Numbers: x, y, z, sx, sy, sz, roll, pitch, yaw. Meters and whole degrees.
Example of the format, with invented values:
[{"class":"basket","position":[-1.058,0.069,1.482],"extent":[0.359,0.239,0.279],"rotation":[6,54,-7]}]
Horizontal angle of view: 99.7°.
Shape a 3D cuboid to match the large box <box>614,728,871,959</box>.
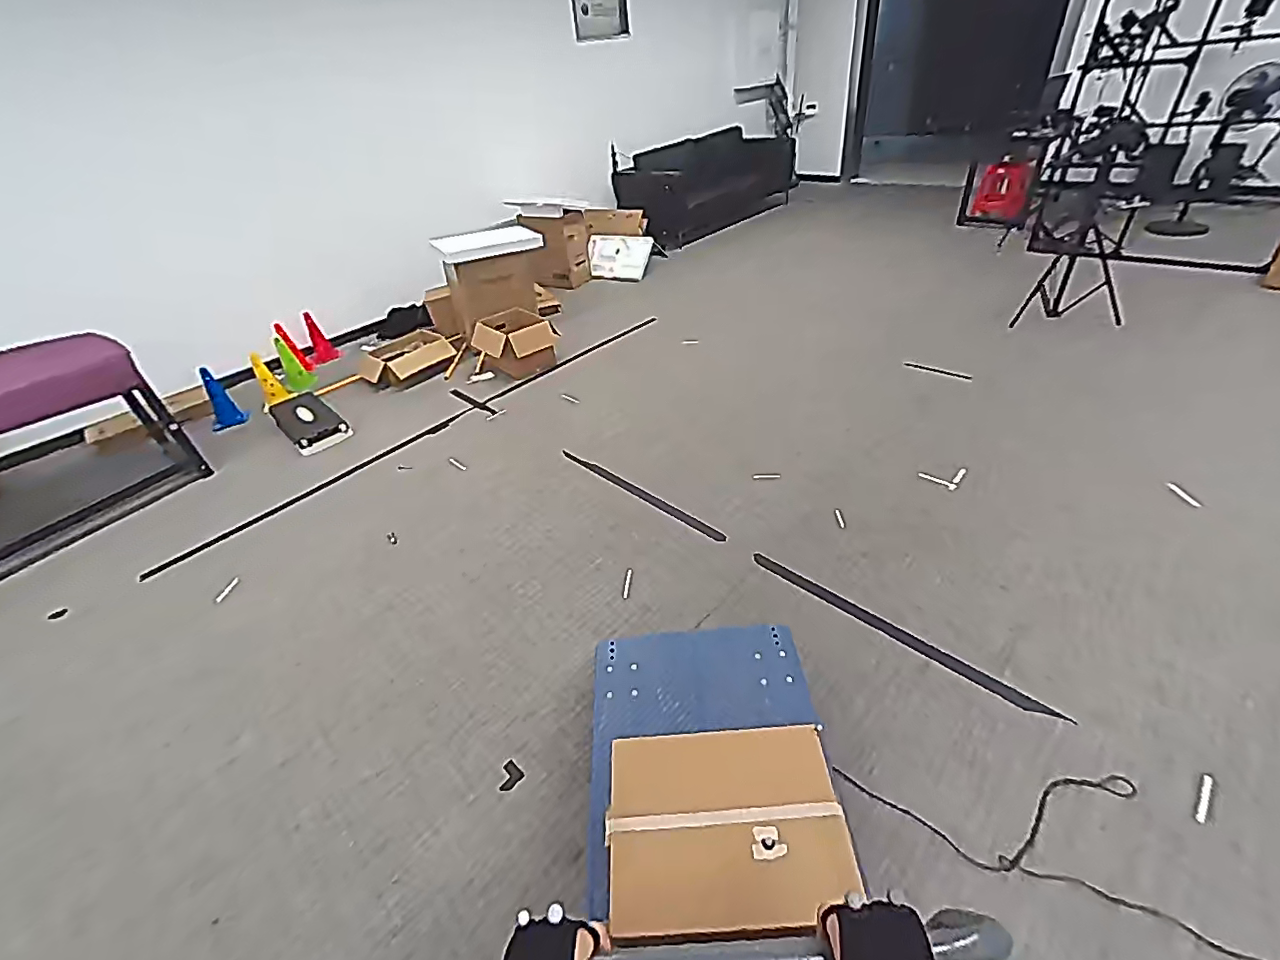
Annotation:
[{"class":"large box","position":[0.164,0.719,1.036],"extent":[0.408,0.320,0.320],"rotation":[-5,38,1]}]
